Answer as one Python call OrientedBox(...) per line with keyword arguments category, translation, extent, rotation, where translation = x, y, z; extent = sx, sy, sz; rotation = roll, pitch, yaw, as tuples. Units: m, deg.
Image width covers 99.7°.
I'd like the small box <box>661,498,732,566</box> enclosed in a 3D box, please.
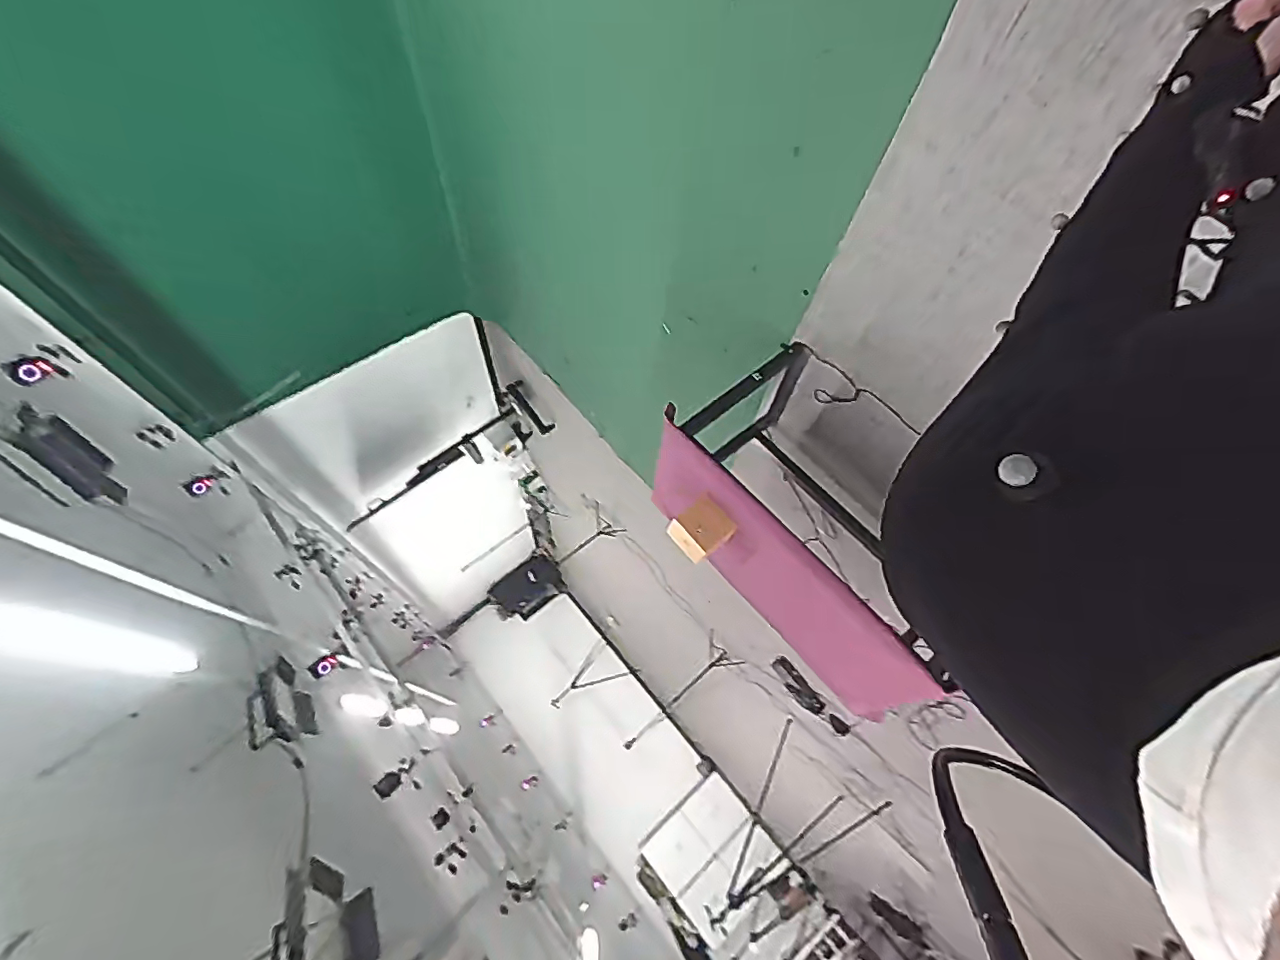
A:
OrientedBox(category="small box", translation=(0.211, 0.190, 2.031), extent=(0.179, 0.176, 0.168), rotation=(47, 157, 13))
